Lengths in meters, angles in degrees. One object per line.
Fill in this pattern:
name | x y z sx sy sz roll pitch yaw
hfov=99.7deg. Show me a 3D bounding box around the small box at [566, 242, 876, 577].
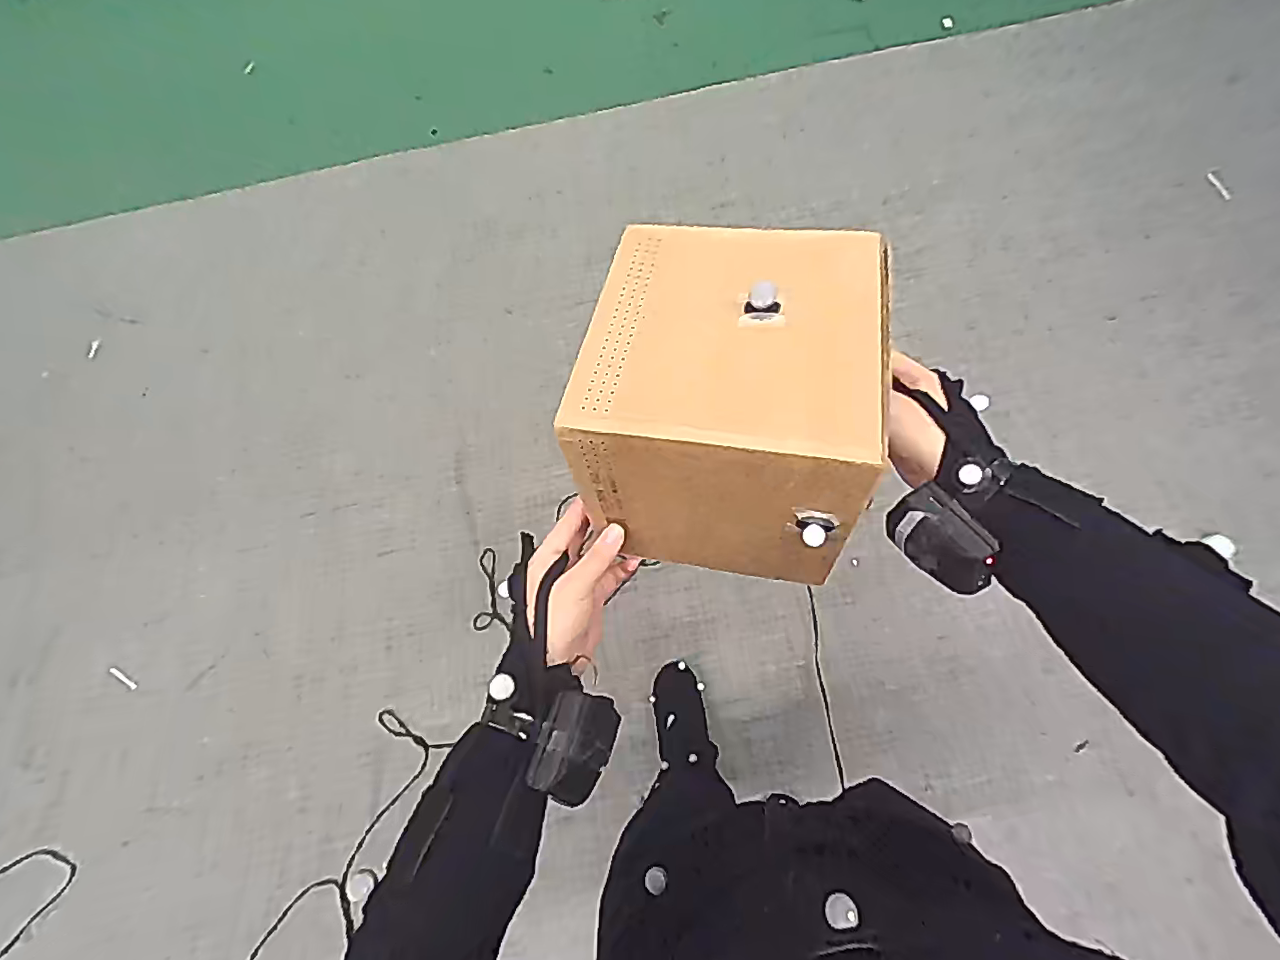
small box | 0.057 -0.051 0.389 0.176 0.168 0.179 6 59 12
